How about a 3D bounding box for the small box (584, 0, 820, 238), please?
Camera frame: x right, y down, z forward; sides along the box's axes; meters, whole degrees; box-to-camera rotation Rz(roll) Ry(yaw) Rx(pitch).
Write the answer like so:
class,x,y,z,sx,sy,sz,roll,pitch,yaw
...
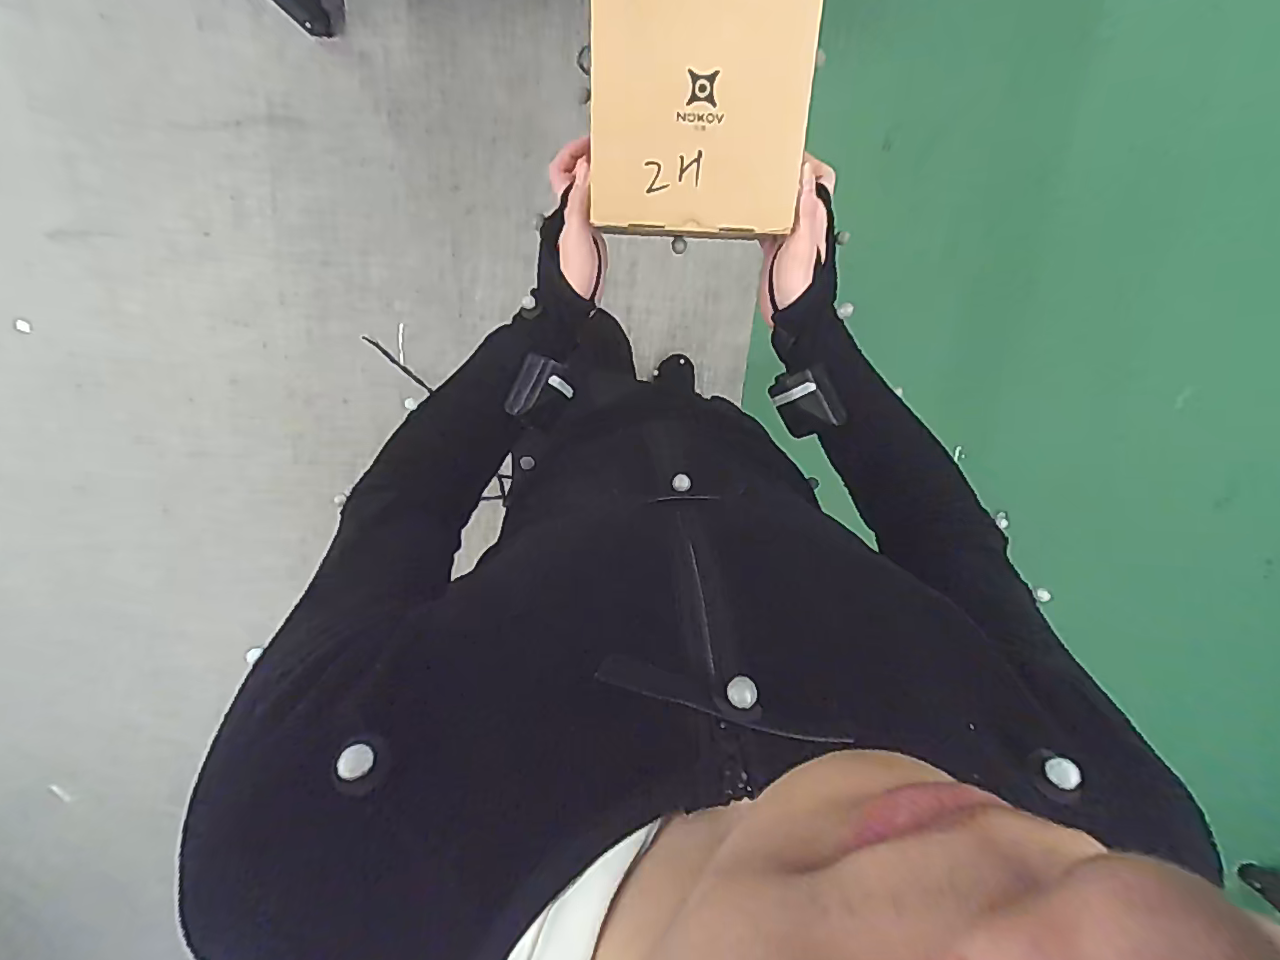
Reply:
class,x,y,z,sx,sy,sz,roll,pitch,yaw
small box,0.041,-0.312,0.468,0.168,0.176,0.179,2,112,0
